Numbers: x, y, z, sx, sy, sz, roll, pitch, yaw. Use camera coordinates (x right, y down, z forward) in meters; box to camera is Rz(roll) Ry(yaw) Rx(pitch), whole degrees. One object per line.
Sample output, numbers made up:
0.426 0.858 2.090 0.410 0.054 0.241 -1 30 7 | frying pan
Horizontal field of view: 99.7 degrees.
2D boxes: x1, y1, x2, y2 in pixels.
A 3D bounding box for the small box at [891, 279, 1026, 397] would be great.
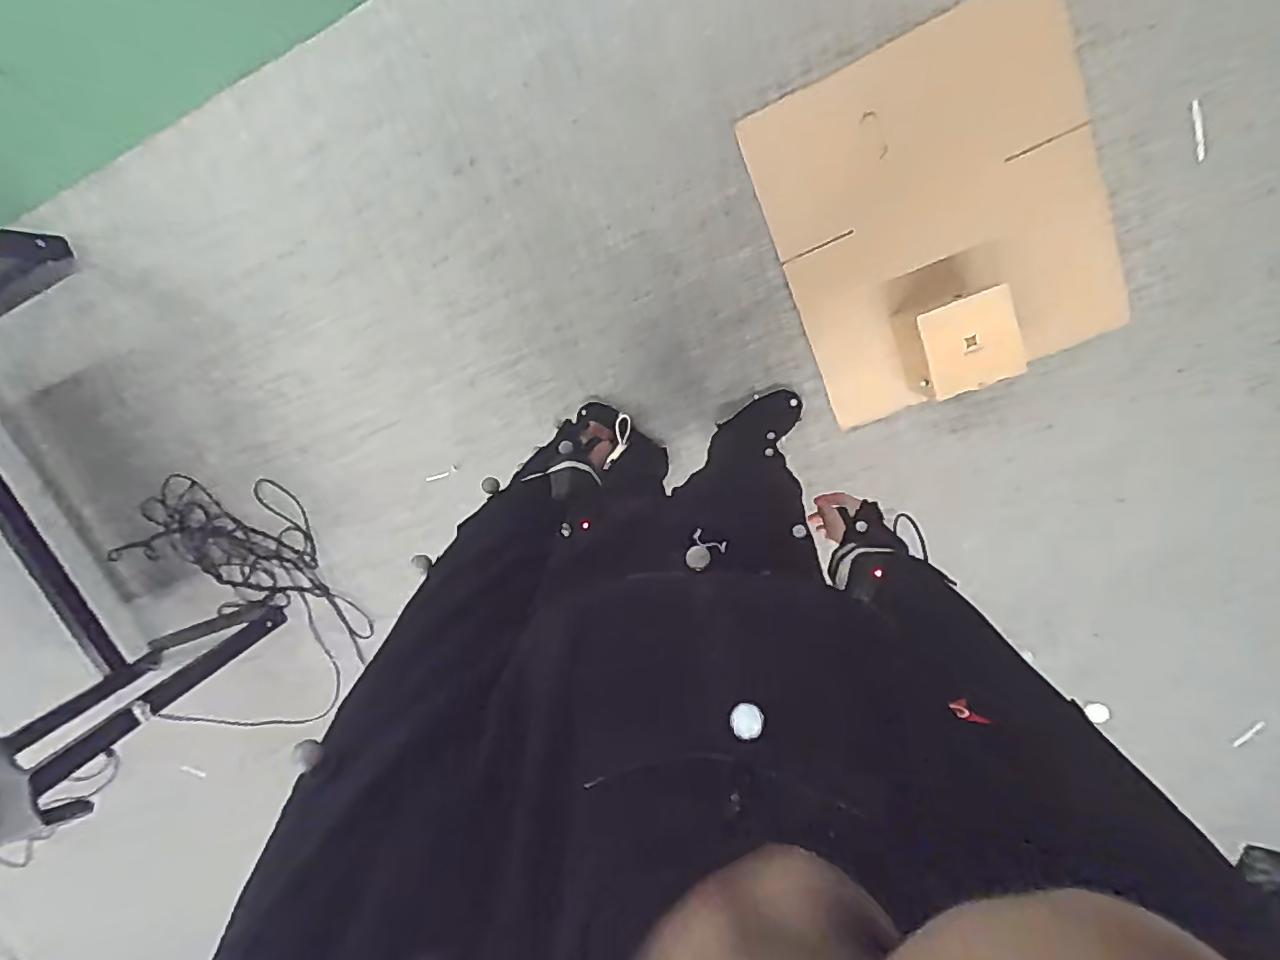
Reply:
0.630 -0.285 1.090 0.168 0.176 0.179 -19 104 13 | small box
